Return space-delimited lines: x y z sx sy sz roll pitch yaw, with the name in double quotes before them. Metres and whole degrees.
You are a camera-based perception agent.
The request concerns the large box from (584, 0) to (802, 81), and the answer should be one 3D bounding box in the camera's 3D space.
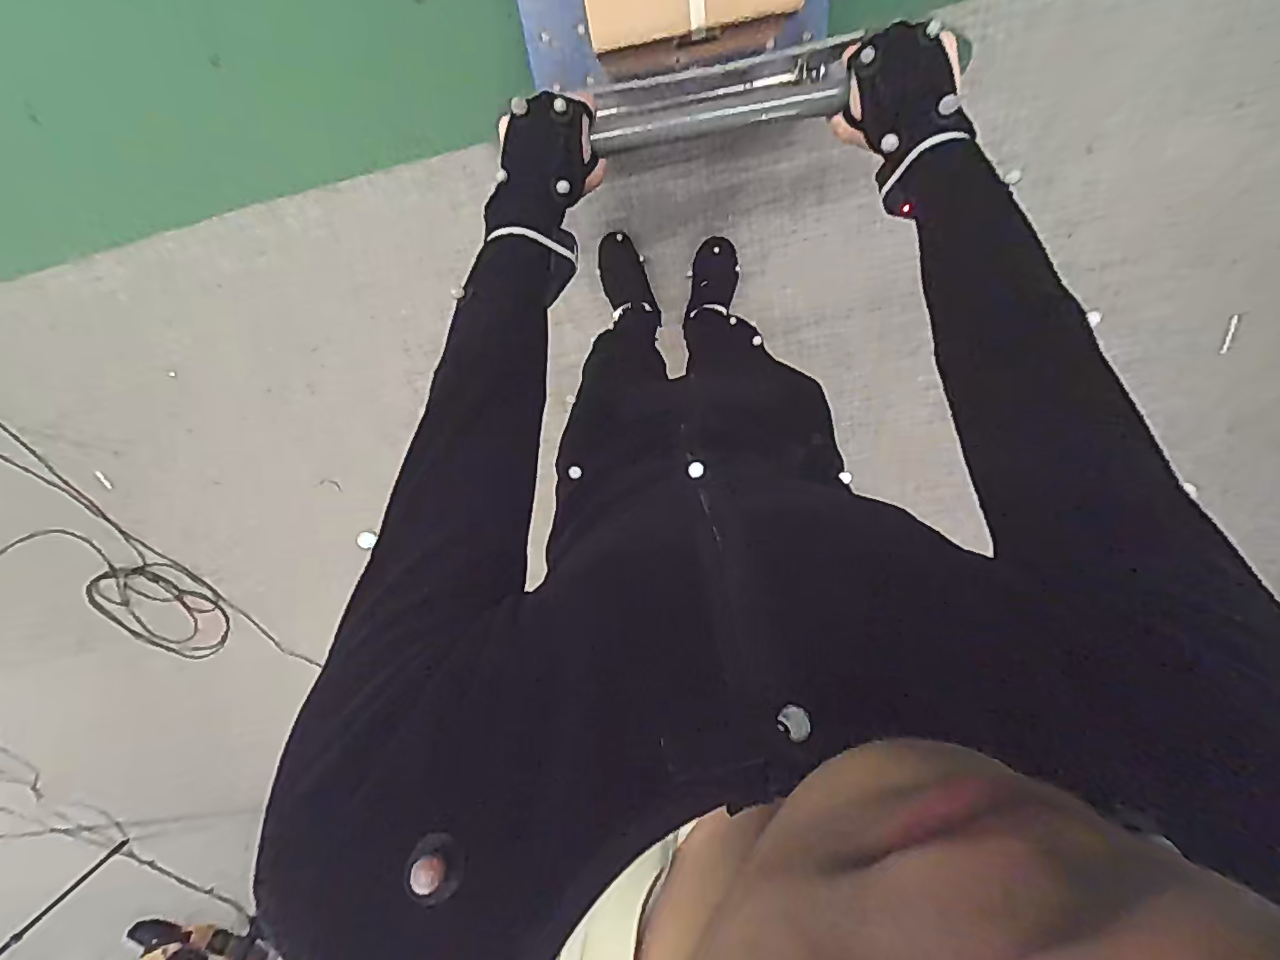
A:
"large box" 0.057 -0.898 0.825 0.320 0.320 0.408 -7 120 6
